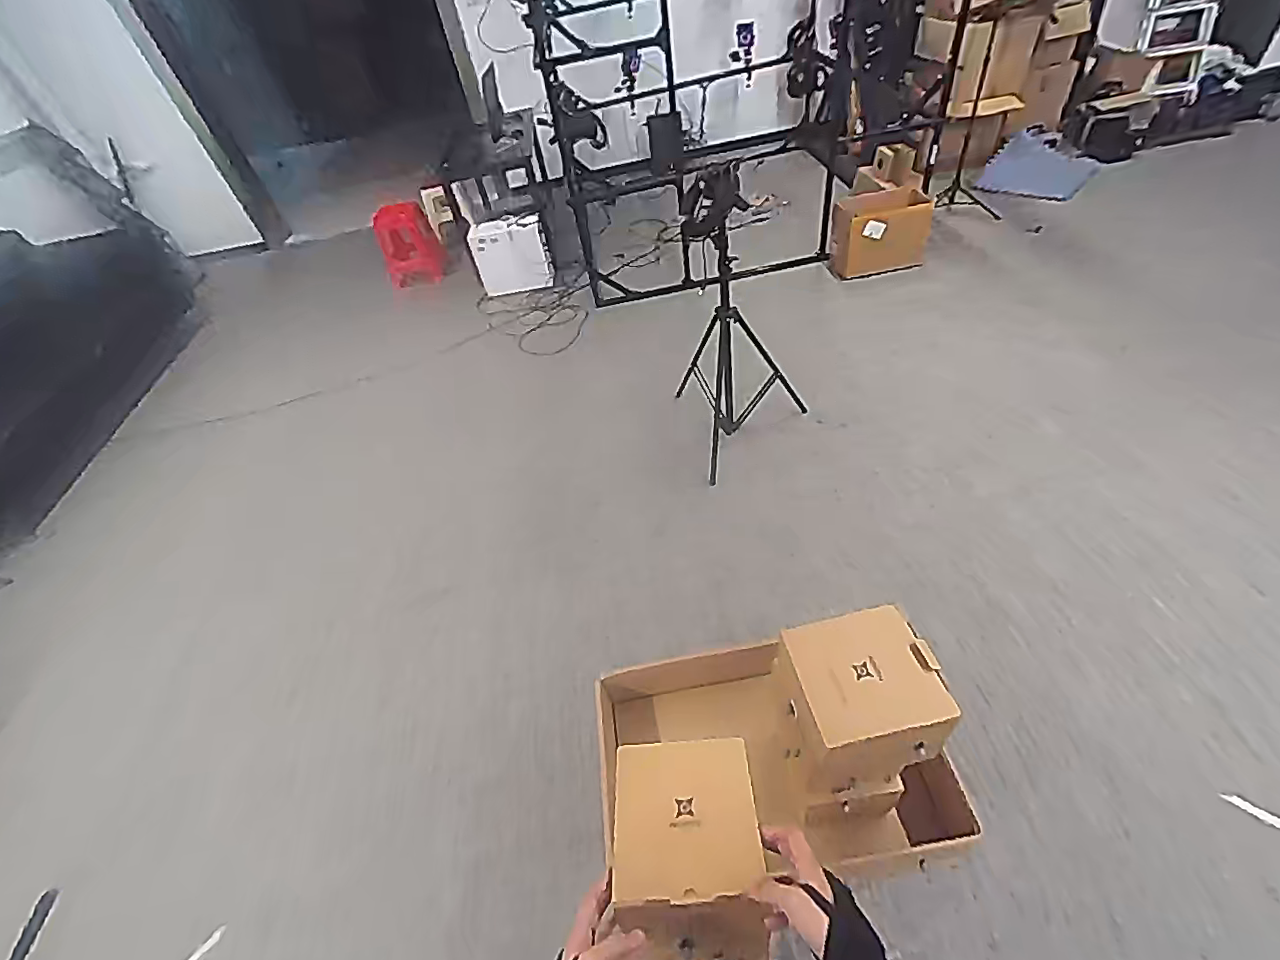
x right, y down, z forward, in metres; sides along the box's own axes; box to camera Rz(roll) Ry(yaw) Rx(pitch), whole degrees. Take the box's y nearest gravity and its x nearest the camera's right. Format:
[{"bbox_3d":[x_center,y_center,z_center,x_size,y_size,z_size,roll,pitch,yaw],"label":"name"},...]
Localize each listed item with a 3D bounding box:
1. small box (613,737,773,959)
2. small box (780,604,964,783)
[{"bbox_3d":[0.061,0.448,0.661,0.168,0.176,0.179,-6,31,3],"label":"small box"},{"bbox_3d":[0.309,0.305,0.768,0.179,0.176,0.168,-13,45,-1],"label":"small box"}]
